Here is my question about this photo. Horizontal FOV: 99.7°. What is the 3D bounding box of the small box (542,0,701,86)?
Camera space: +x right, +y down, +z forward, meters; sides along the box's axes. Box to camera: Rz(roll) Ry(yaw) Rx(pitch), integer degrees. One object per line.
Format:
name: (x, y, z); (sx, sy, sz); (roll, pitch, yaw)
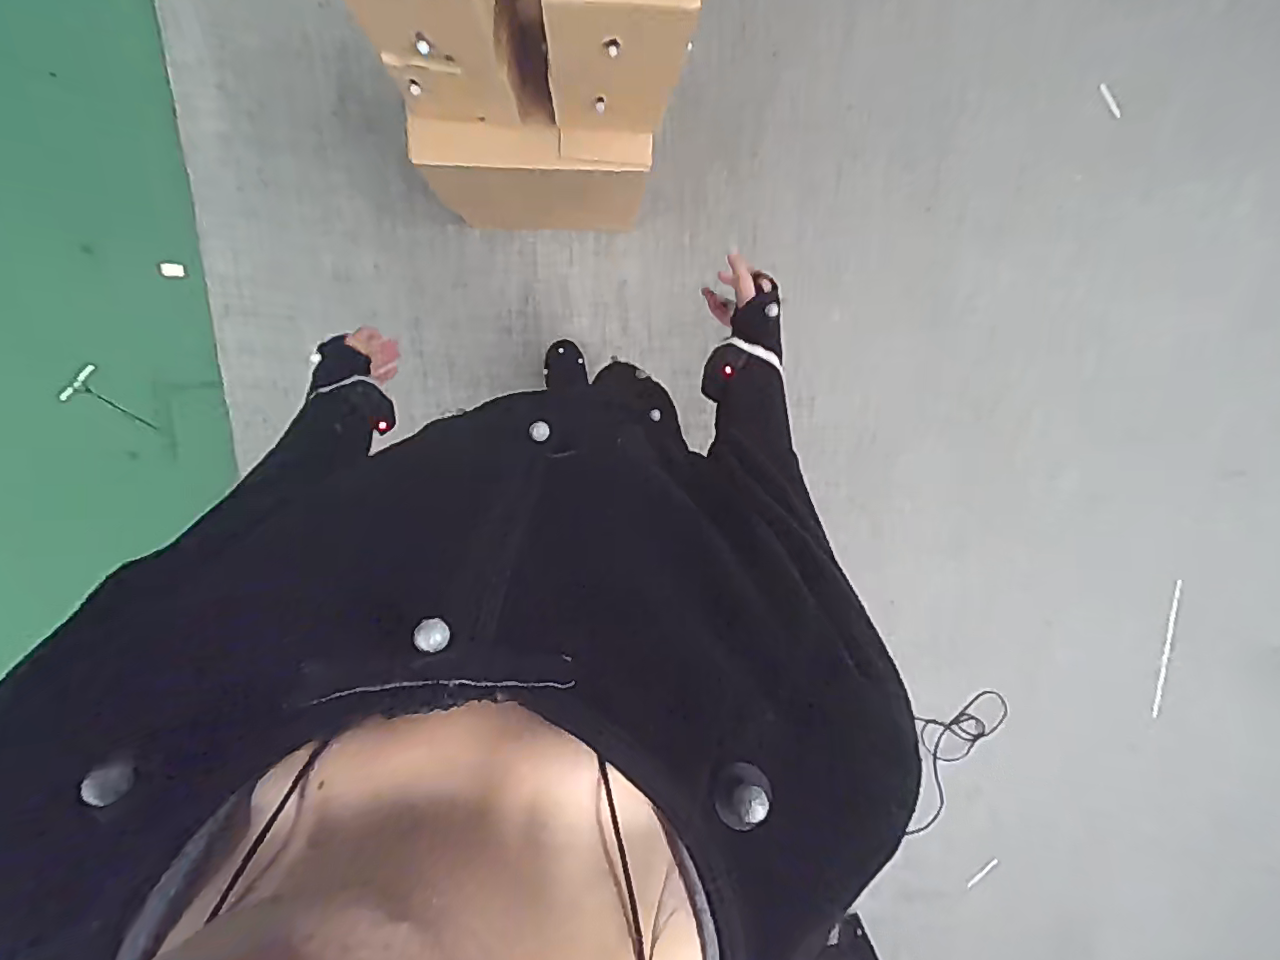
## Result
small box: (-0.024, -0.608, 0.652); (0.179, 0.176, 0.168); (-1, 102, -3)
